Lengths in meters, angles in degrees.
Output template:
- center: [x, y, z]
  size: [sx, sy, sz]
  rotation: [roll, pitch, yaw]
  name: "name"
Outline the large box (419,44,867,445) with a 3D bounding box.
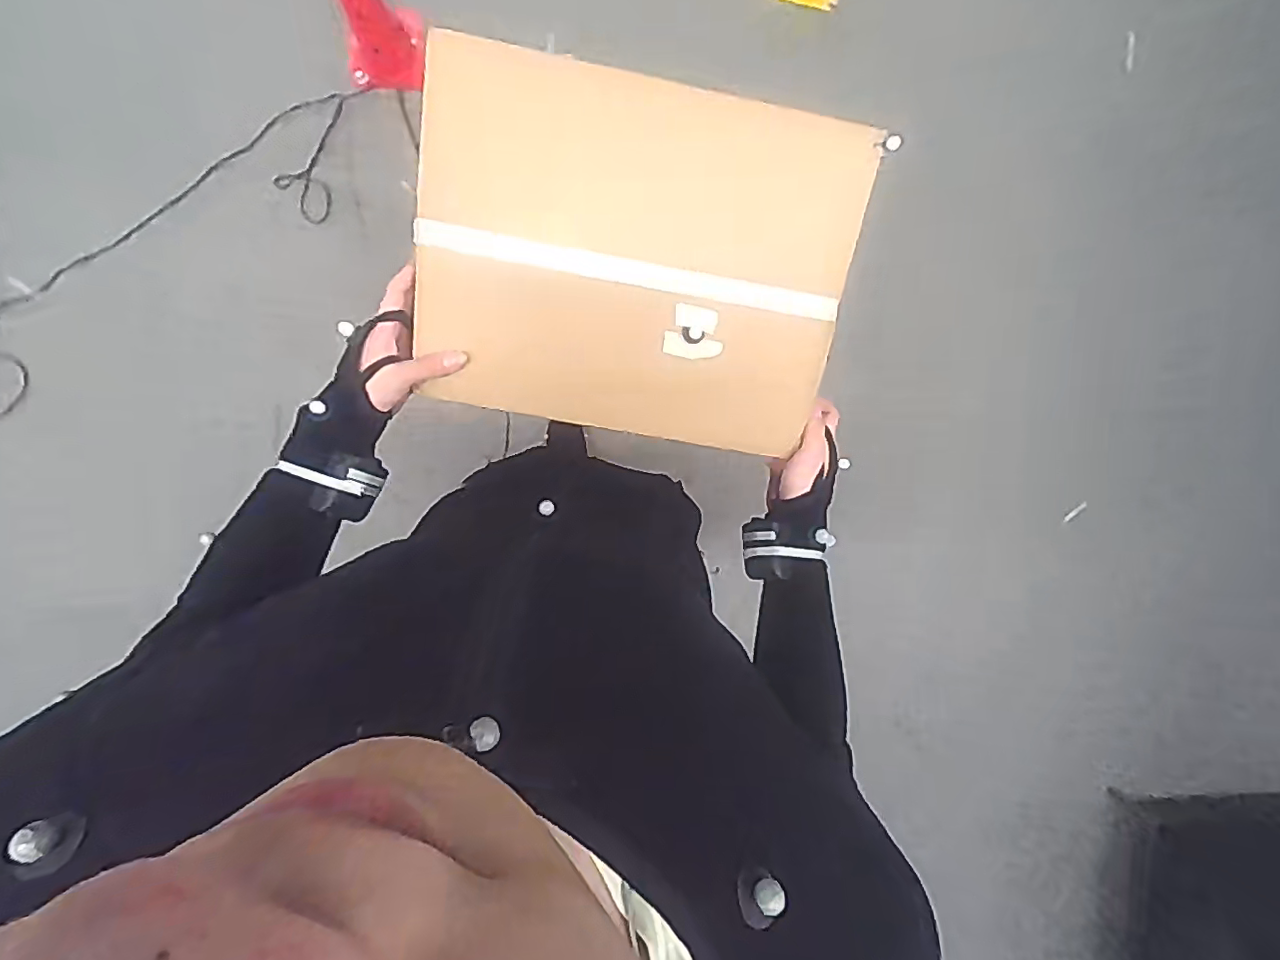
- center: [-0.016, -0.251, 0.664]
  size: [0.408, 0.320, 0.320]
  rotation: [8, 109, -5]
  name: "large box"
